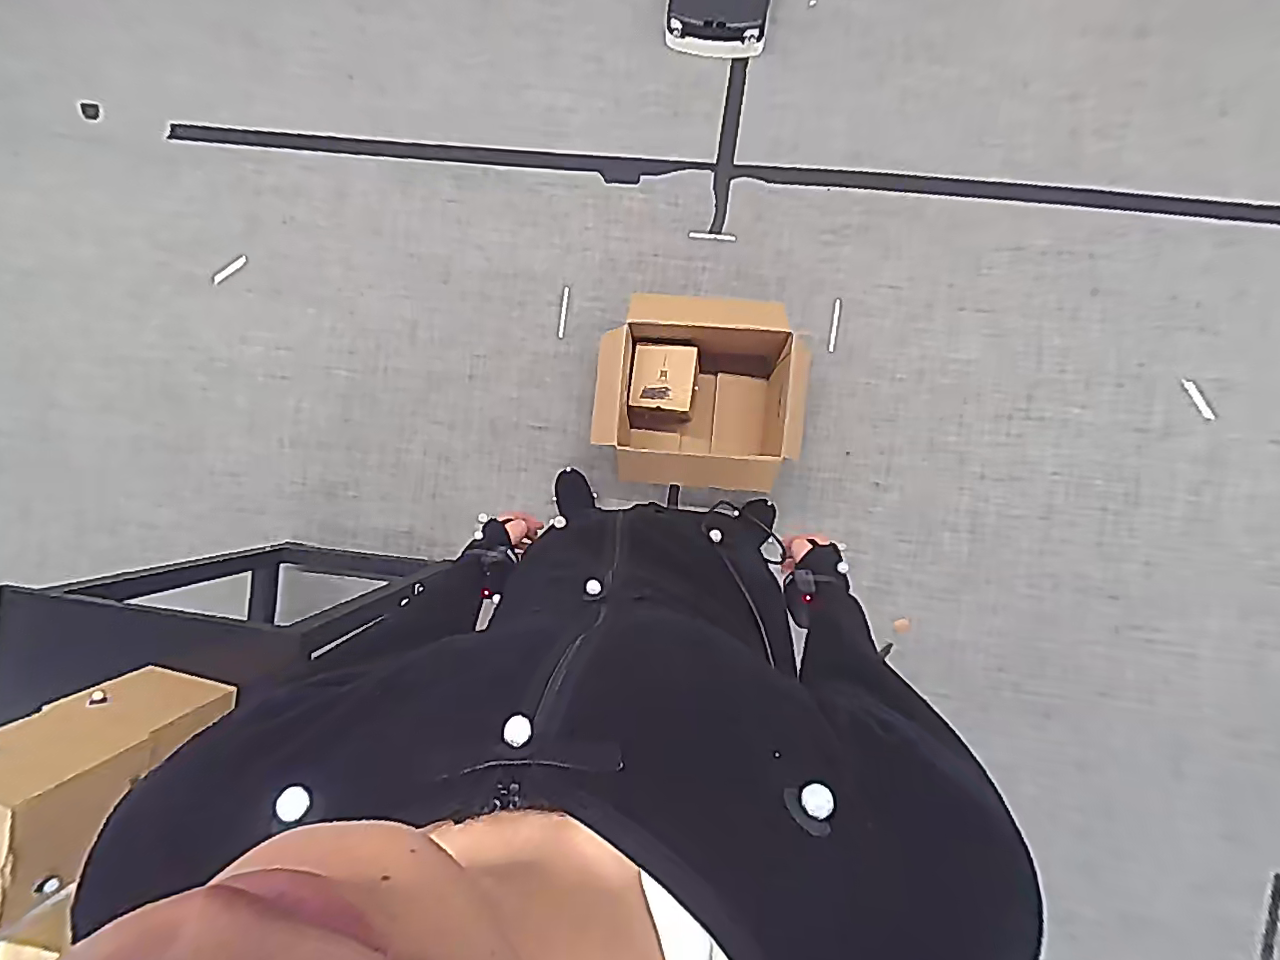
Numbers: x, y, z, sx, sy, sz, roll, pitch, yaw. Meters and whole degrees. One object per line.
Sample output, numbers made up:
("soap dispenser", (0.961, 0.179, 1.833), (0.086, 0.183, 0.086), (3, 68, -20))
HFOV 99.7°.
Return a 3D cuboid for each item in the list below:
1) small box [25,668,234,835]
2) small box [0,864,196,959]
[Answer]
("small box", (-0.823, 0.429, 0.886), (0.179, 0.176, 0.168), (12, 94, 4))
("small box", (-0.906, 0.791, 0.908), (0.179, 0.176, 0.168), (7, 92, 4))
